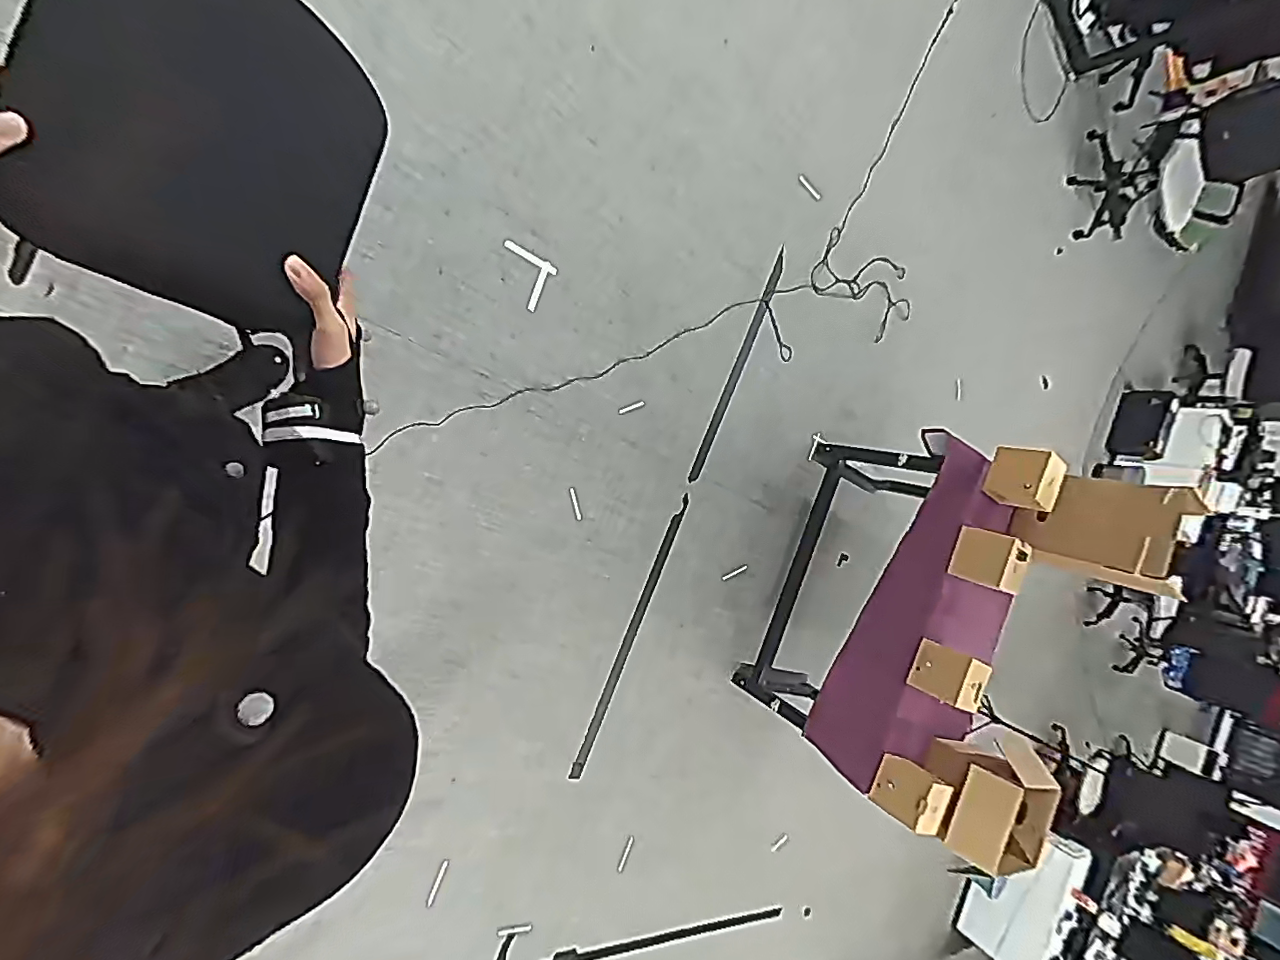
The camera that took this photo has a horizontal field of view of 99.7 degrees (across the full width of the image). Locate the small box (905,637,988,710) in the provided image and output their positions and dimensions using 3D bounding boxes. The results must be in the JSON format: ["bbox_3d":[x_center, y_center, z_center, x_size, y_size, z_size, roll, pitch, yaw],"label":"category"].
[{"bbox_3d":[1.040,0.655,1.839,0.179,0.176,0.168,27,84,-35],"label":"small box"}]

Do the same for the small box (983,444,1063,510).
[{"bbox_3d":[1.341,-0.015,1.901,0.168,0.176,0.179,22,89,-36],"label":"small box"}]

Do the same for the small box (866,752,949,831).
[{"bbox_3d":[0.902,1.047,1.826,0.179,0.176,0.168,31,81,-35],"label":"small box"}]
